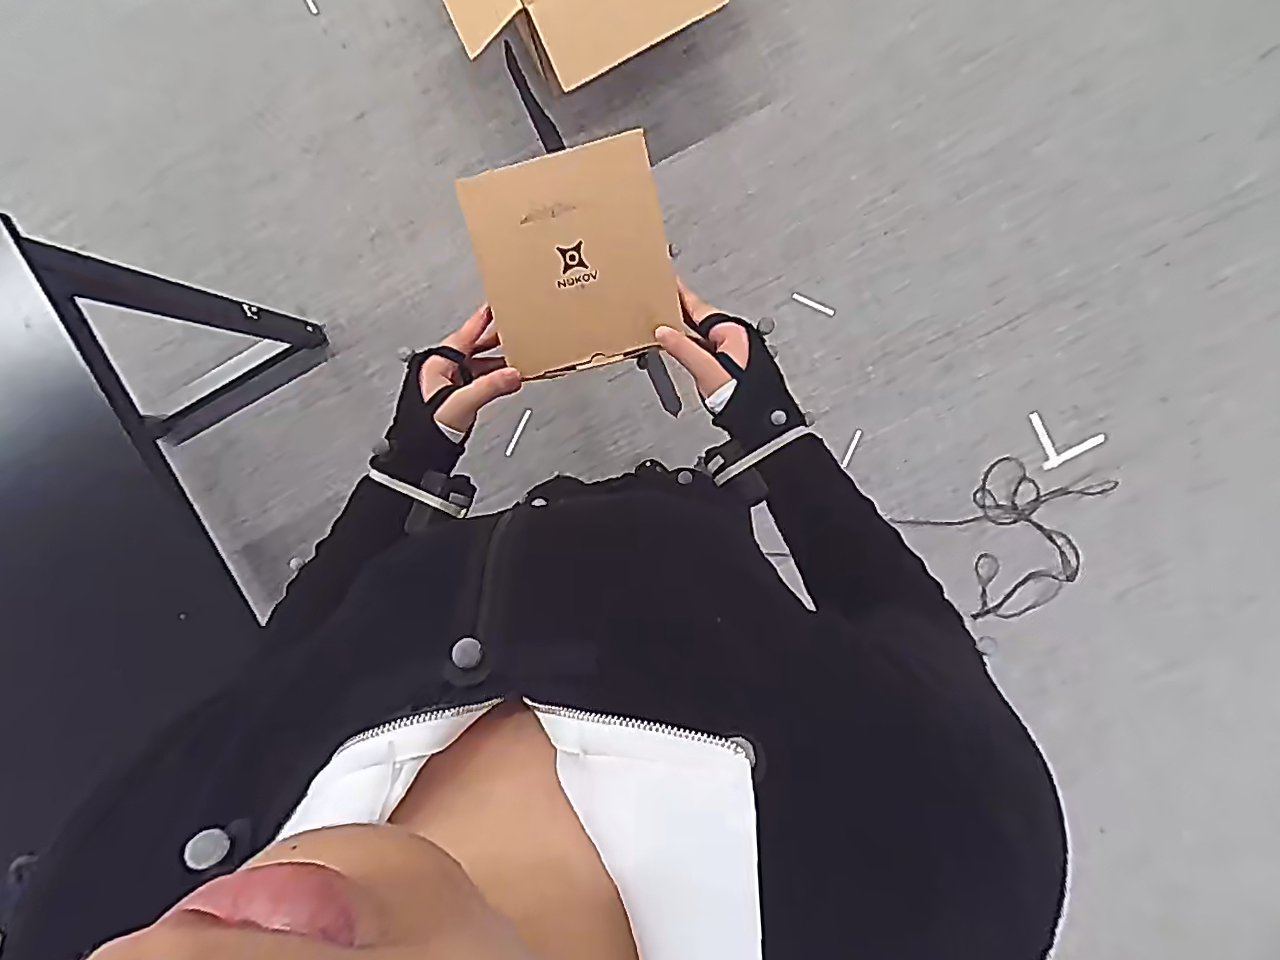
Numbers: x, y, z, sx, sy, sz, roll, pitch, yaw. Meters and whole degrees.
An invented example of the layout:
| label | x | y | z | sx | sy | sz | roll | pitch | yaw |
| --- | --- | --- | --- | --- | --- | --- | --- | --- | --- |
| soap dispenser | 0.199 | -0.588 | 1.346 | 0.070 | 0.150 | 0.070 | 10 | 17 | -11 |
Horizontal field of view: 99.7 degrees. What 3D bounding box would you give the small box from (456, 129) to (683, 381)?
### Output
| label | x | y | z | sx | sy | sz | roll | pitch | yaw |
| --- | --- | --- | --- | --- | --- | --- | --- | --- | --- |
| small box | -0.055 | -0.207 | 0.546 | 0.168 | 0.176 | 0.179 | -14 | 101 | 4 |
